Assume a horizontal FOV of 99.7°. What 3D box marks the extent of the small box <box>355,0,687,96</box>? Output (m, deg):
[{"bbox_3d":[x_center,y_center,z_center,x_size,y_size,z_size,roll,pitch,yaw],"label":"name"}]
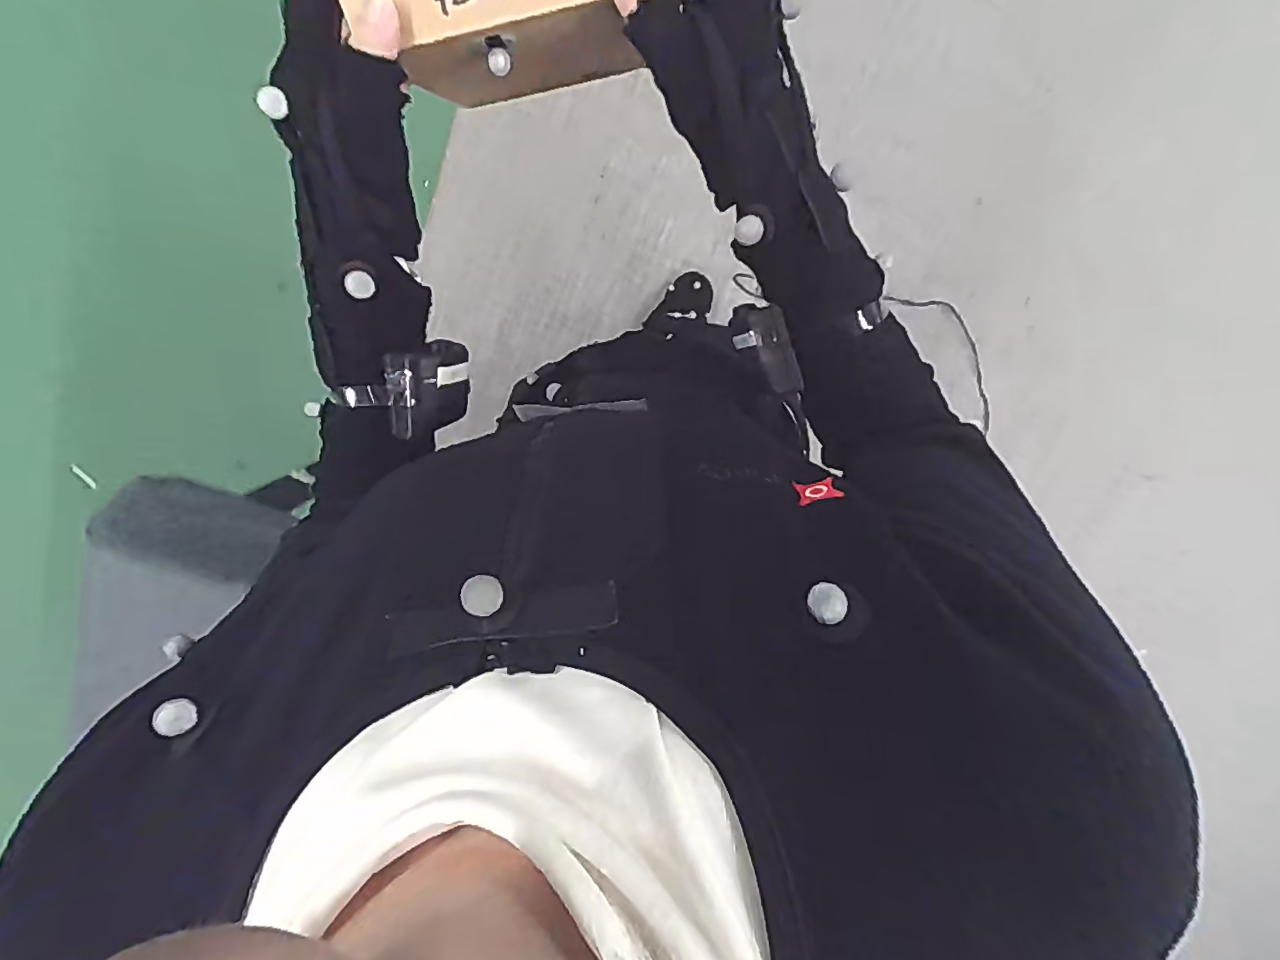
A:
[{"bbox_3d":[-0.068,-0.342,0.294,0.168,0.176,0.179,-8,117,7],"label":"small box"}]
